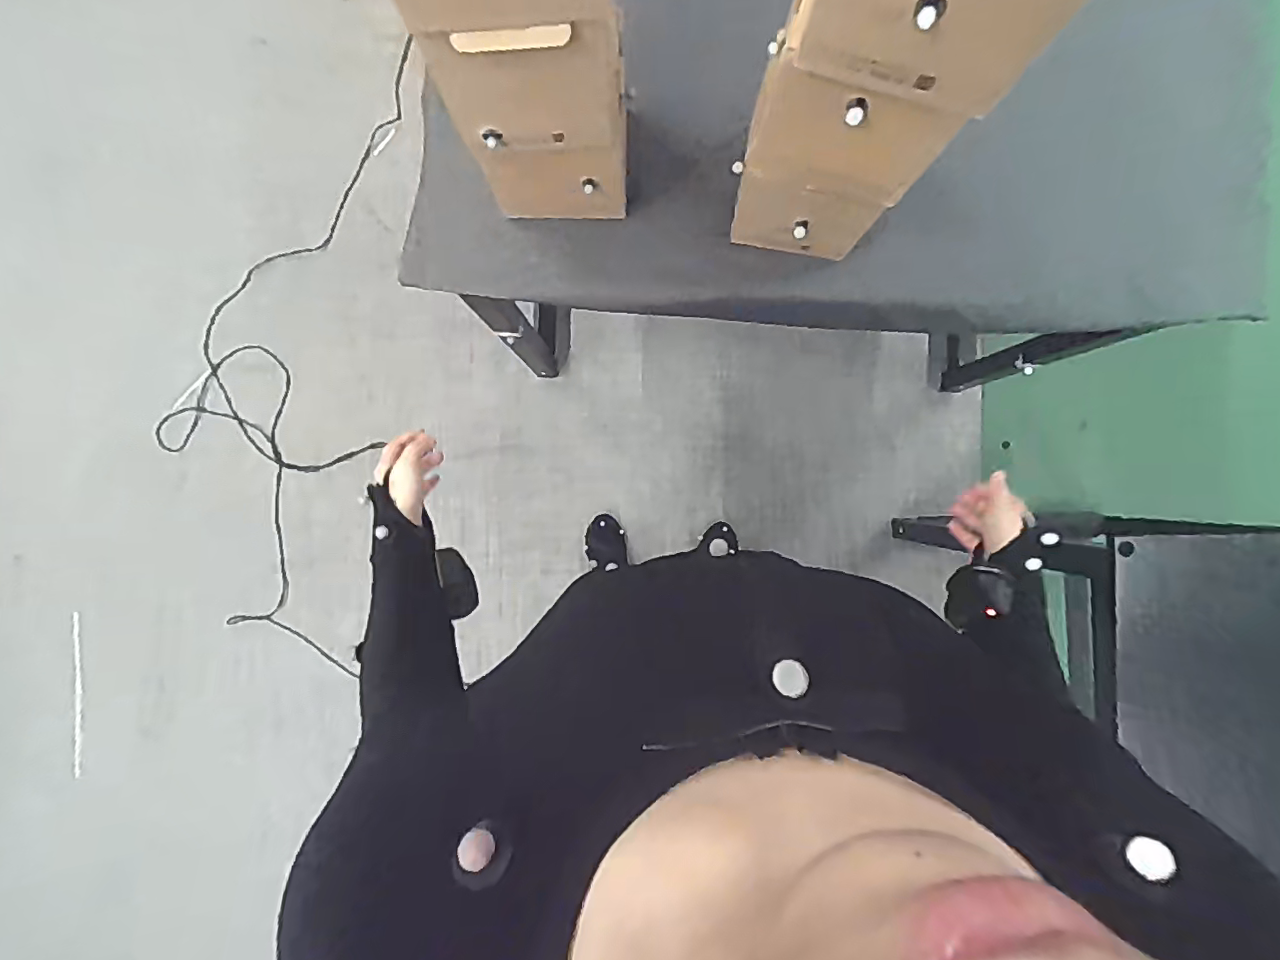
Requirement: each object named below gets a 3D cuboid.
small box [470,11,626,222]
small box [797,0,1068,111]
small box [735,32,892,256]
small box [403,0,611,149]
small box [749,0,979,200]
[{"bbox_3d":[-0.108,-0.456,0.701,0.179,0.176,0.168,0,87,2],"label":"small box"},{"bbox_3d":[0.220,-0.400,0.365,0.168,0.176,0.179,17,89,2],"label":"small box"},{"bbox_3d":[0.222,-0.412,0.693,0.168,0.176,0.179,10,89,2],"label":"small box"},{"bbox_3d":[-0.120,-0.460,0.537,0.168,0.176,0.179,-4,86,0],"label":"small box"},{"bbox_3d":[0.222,-0.408,0.530,0.179,0.176,0.168,15,88,2],"label":"small box"}]
